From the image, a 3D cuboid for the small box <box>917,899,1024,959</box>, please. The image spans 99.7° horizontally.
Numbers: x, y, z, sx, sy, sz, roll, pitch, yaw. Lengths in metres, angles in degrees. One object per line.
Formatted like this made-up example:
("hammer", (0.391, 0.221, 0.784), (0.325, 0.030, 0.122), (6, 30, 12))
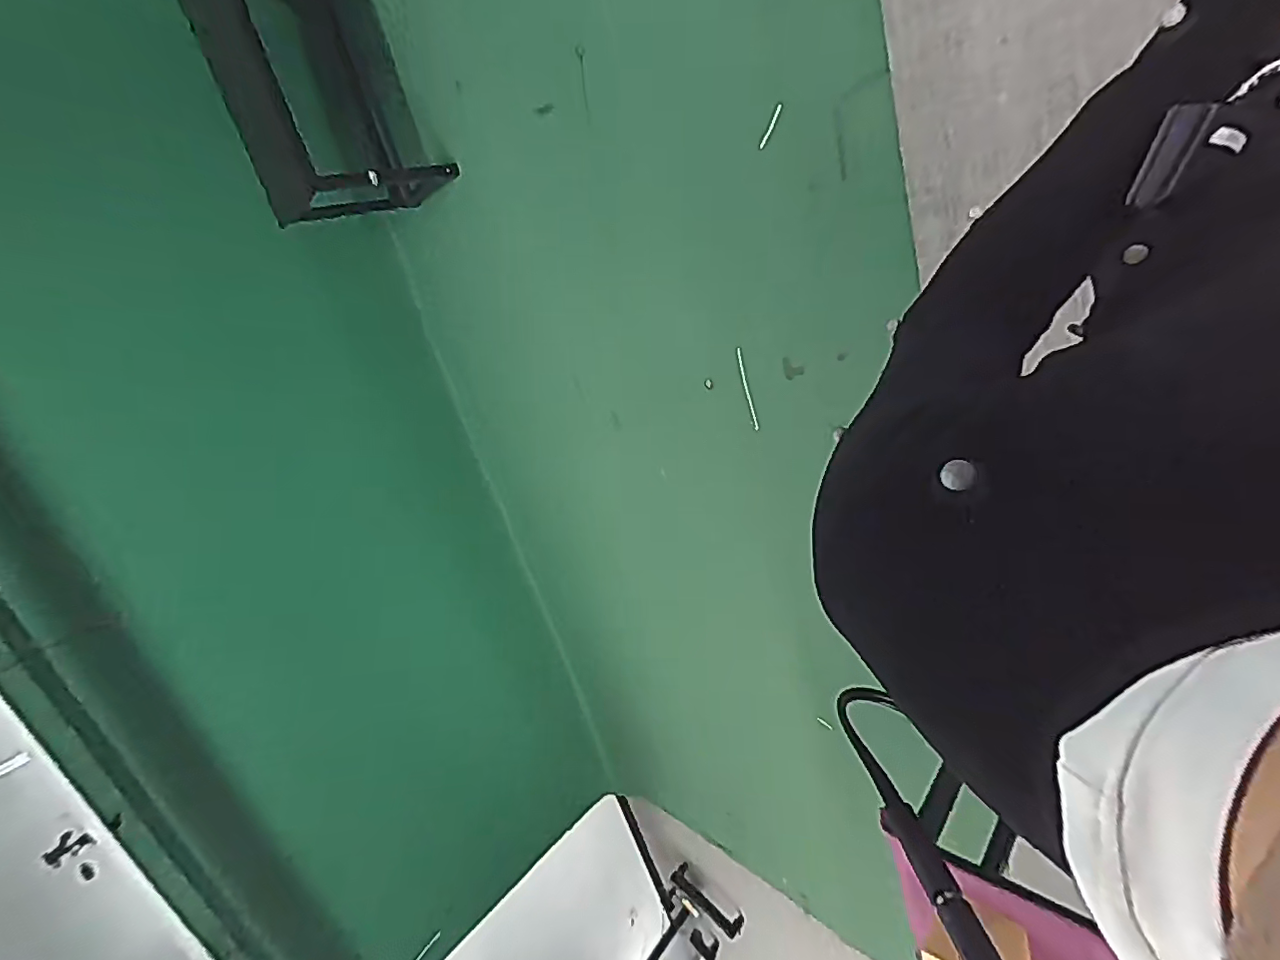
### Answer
("small box", (0.745, 1.107, 1.209), (0.168, 0.176, 0.179), (3, 116, 47))
